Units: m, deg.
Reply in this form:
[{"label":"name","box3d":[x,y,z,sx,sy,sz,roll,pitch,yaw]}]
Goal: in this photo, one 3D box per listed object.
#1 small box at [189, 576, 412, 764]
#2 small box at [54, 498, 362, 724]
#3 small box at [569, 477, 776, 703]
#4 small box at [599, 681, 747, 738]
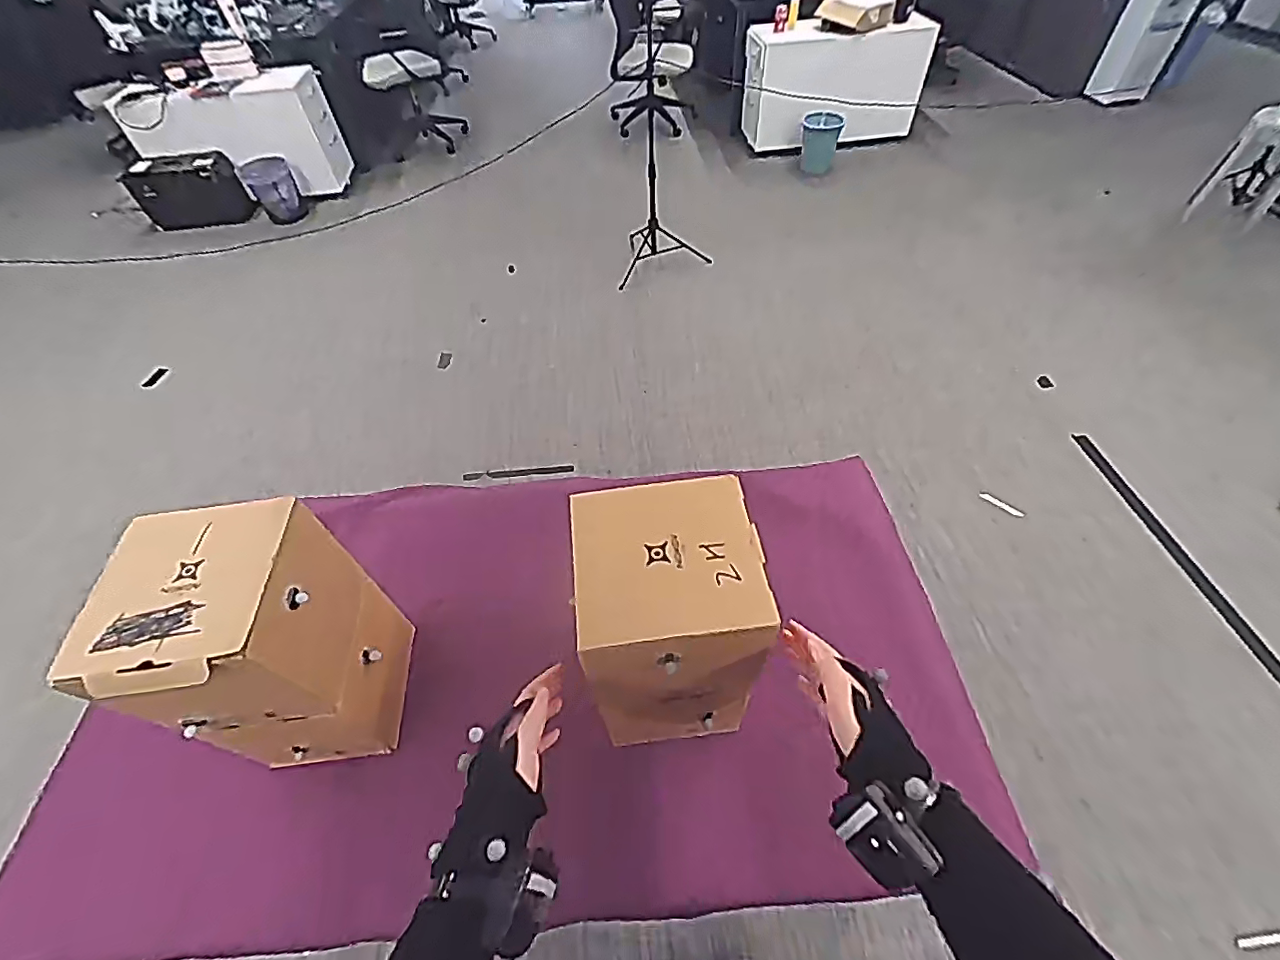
[{"label":"small box","box3d":[-0.414,0.248,0.701,0.168,0.176,0.179,-7,52,-2]},{"label":"small box","box3d":[-0.423,0.146,0.573,0.168,0.176,0.179,-7,51,-3]},{"label":"small box","box3d":[0.026,0.120,0.564,0.179,0.176,0.168,-6,52,-2]},{"label":"small box","box3d":[0.034,0.219,0.695,0.168,0.176,0.179,-6,51,-2]}]
